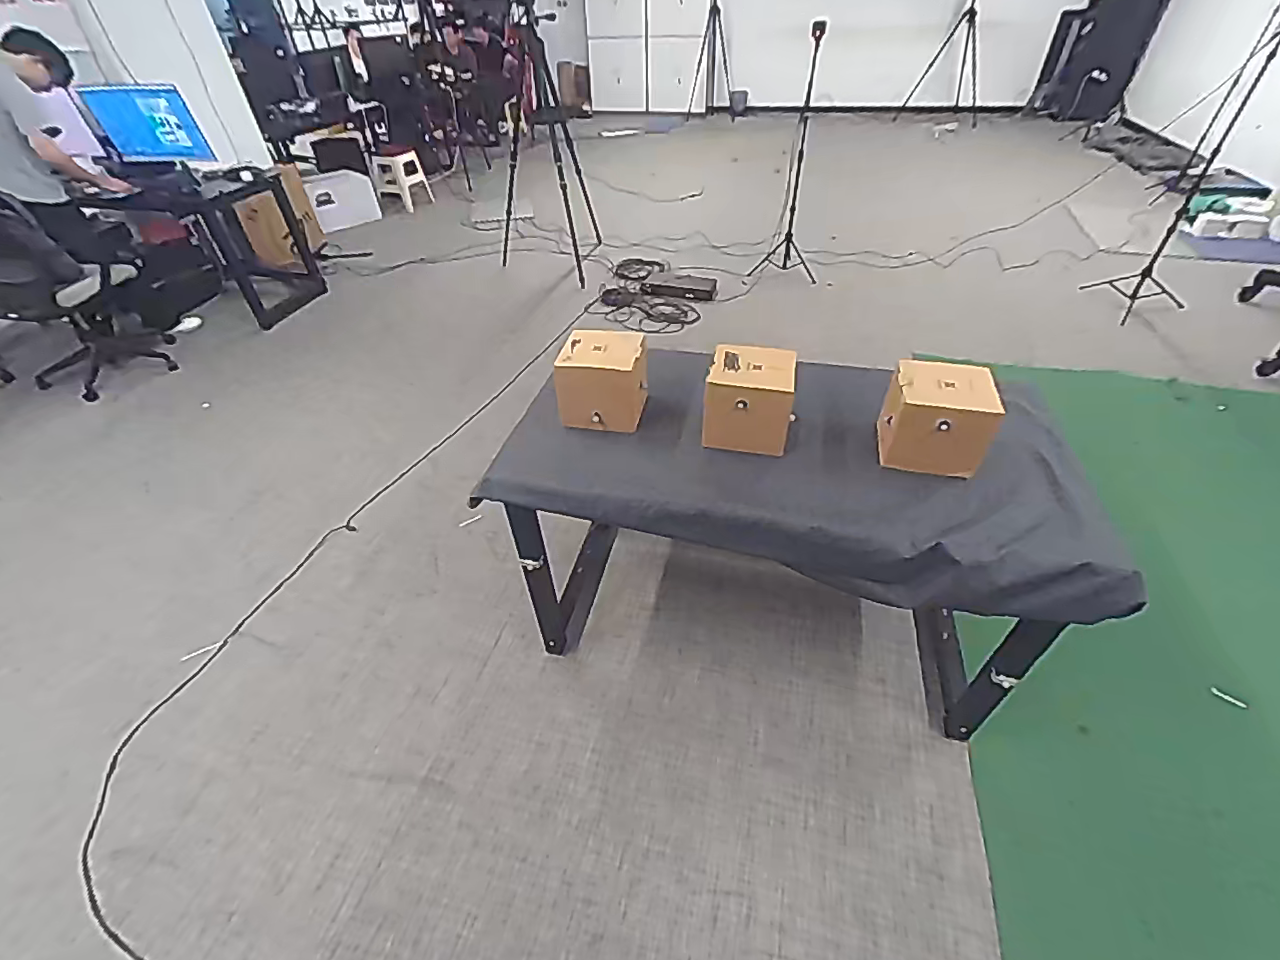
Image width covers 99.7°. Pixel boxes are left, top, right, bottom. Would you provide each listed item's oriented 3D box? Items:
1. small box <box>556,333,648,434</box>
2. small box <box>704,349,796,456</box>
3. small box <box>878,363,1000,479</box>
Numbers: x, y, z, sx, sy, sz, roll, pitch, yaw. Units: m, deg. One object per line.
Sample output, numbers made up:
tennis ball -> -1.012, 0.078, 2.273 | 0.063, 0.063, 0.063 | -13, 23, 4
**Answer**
small box -> -0.081, -0.224, 1.265 | 0.179, 0.176, 0.168 | 7, 43, 9
small box -> 0.240, -0.170, 1.191 | 0.179, 0.176, 0.168 | 8, 43, 11
small box -> 0.605, -0.121, 1.122 | 0.179, 0.176, 0.168 | 10, 44, 12
